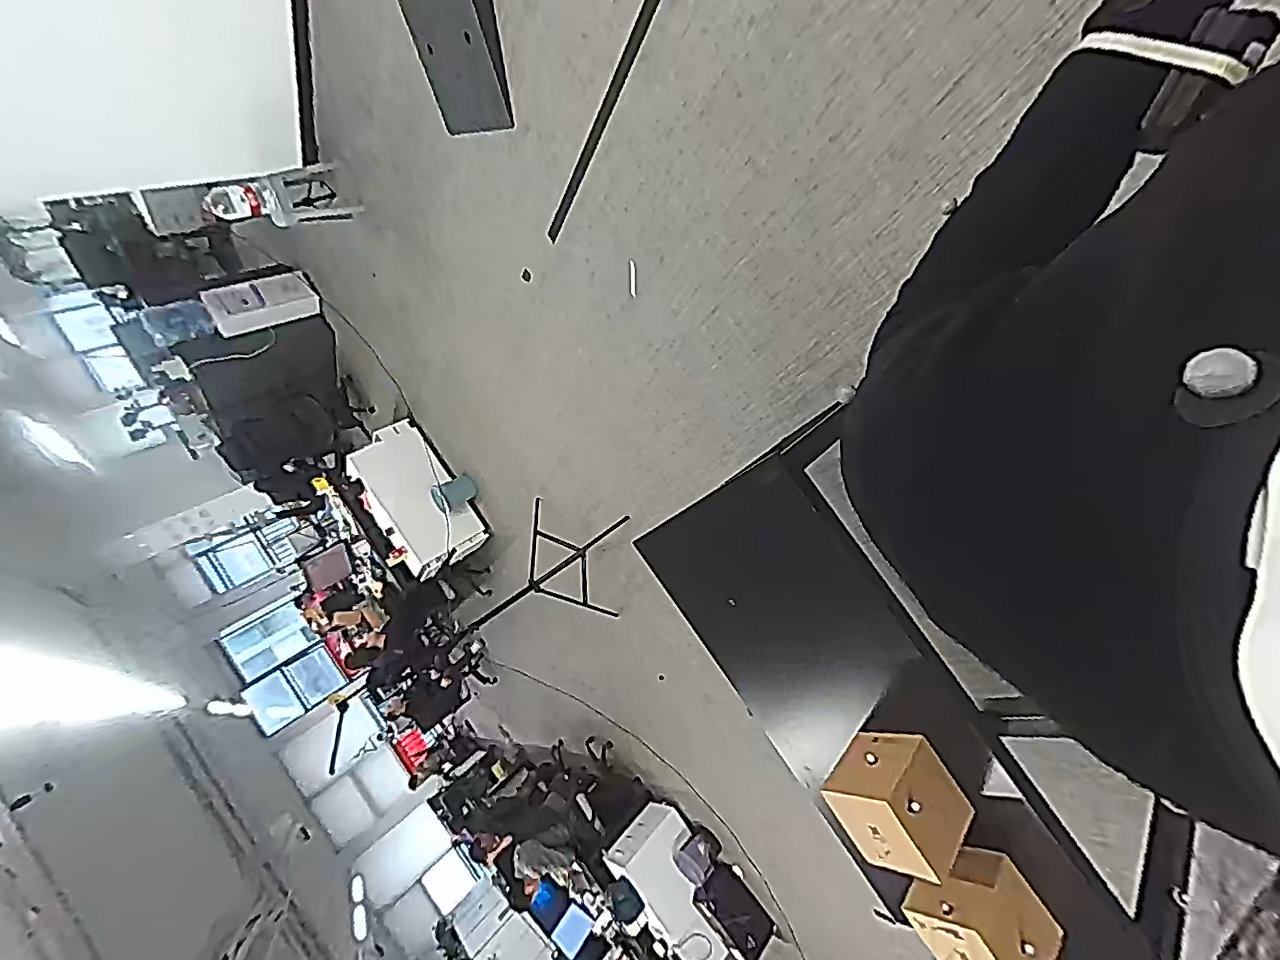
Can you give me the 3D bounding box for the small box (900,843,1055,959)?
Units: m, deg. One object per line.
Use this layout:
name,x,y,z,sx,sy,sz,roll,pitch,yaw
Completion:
small box,0.656,0.848,1.049,0.179,0.176,0.168,54,145,5

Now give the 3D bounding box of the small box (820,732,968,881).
small box,0.499,0.625,1.063,0.179,0.176,0.168,56,146,2
